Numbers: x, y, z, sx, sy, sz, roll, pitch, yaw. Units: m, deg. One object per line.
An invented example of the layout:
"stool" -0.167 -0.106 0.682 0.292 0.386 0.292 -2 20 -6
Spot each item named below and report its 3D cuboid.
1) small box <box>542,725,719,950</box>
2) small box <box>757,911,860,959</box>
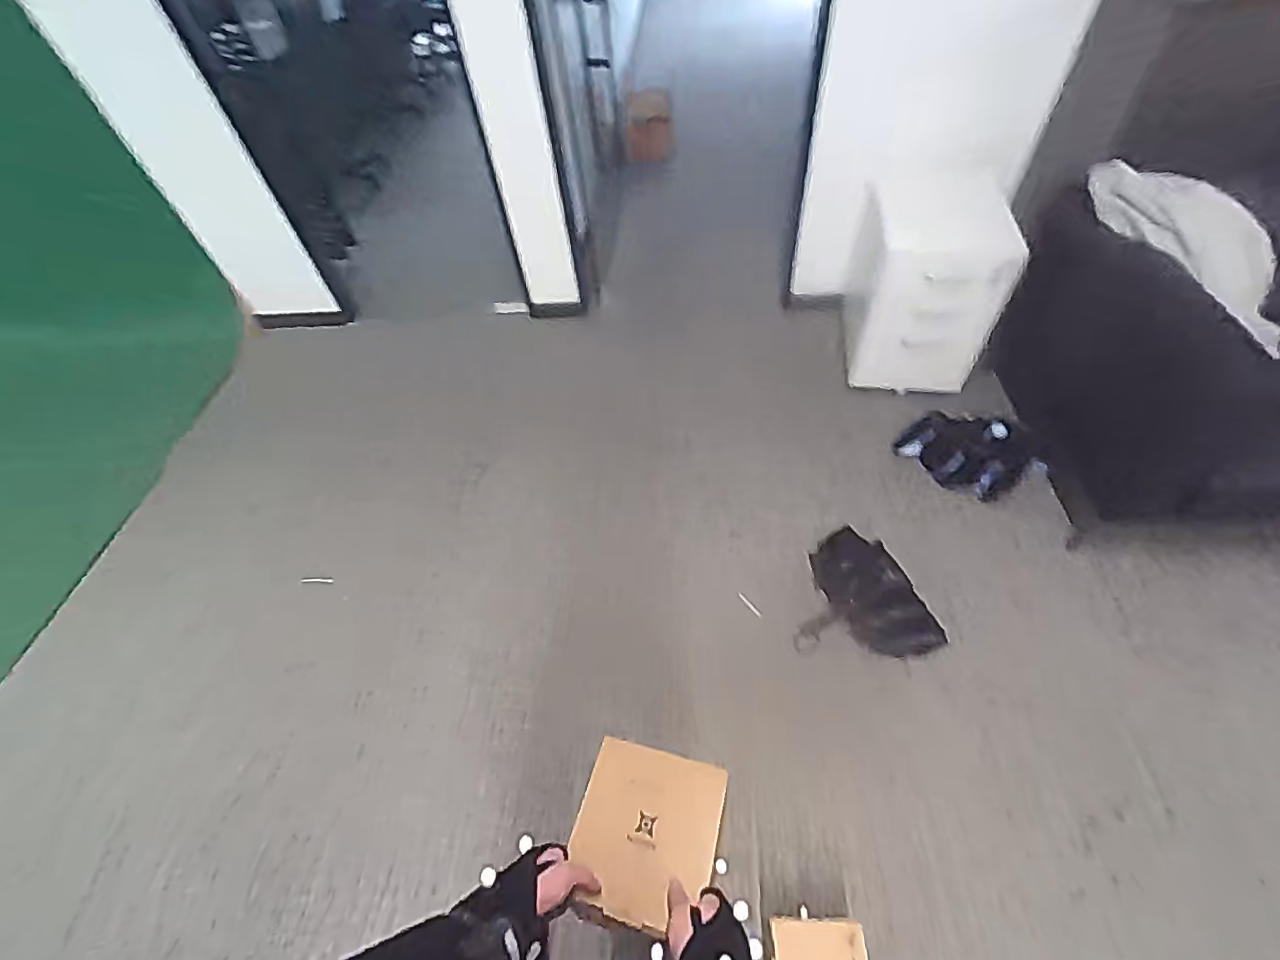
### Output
"small box" 0.002 0.443 0.672 0.168 0.176 0.179 9 45 15
"small box" 0.325 0.951 1.053 0.179 0.176 0.168 -1 52 5
